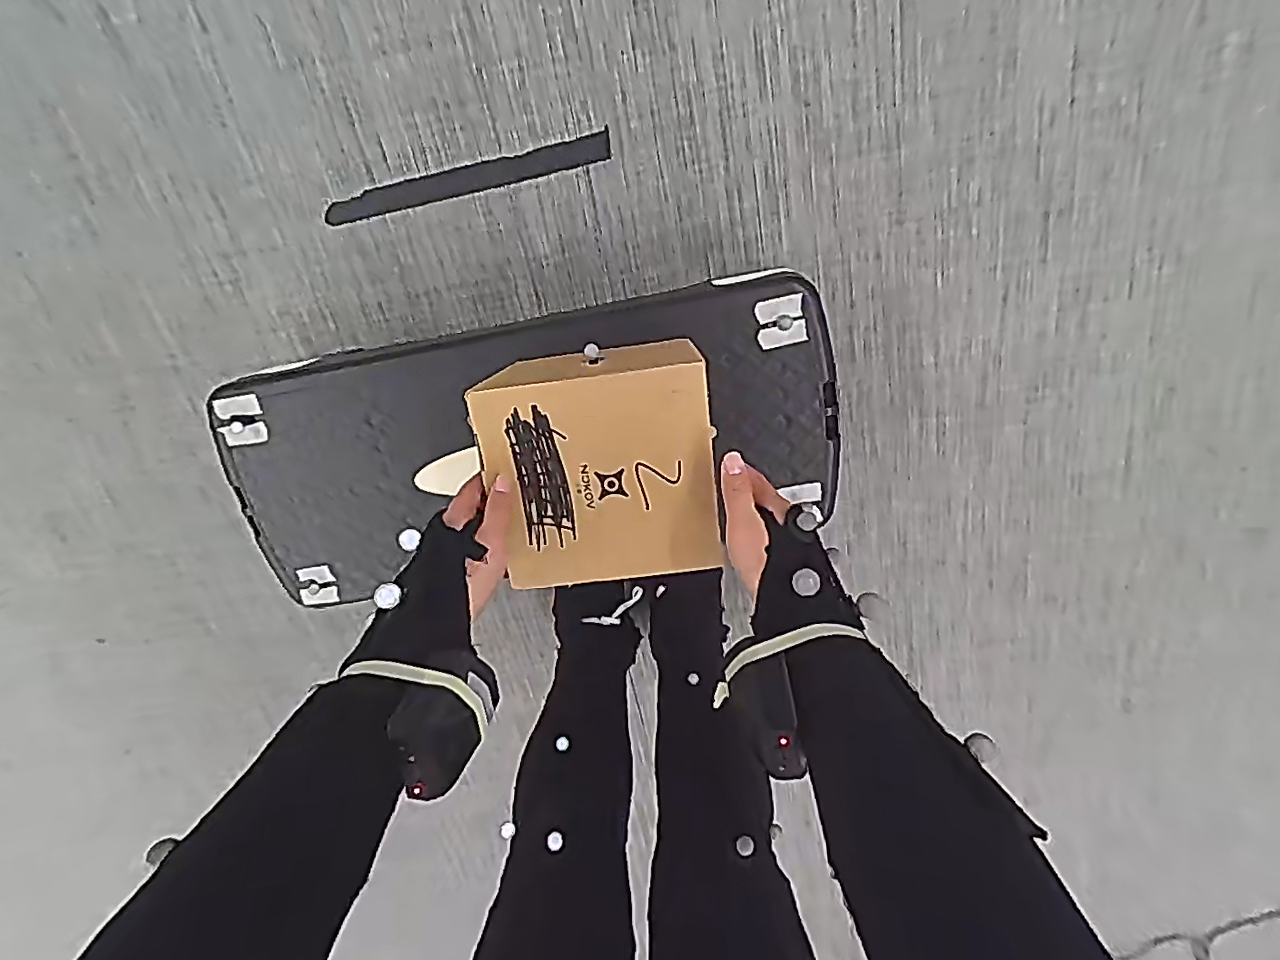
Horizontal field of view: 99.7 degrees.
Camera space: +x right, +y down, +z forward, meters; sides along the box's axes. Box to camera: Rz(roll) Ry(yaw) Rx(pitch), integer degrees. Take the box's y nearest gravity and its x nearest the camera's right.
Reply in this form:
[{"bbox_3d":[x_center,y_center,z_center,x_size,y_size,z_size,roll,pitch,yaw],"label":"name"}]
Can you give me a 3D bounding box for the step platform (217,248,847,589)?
[{"bbox_3d":[-0.112,-0.071,0.659,0.684,0.204,0.286,-10,108,5],"label":"step platform"}]
